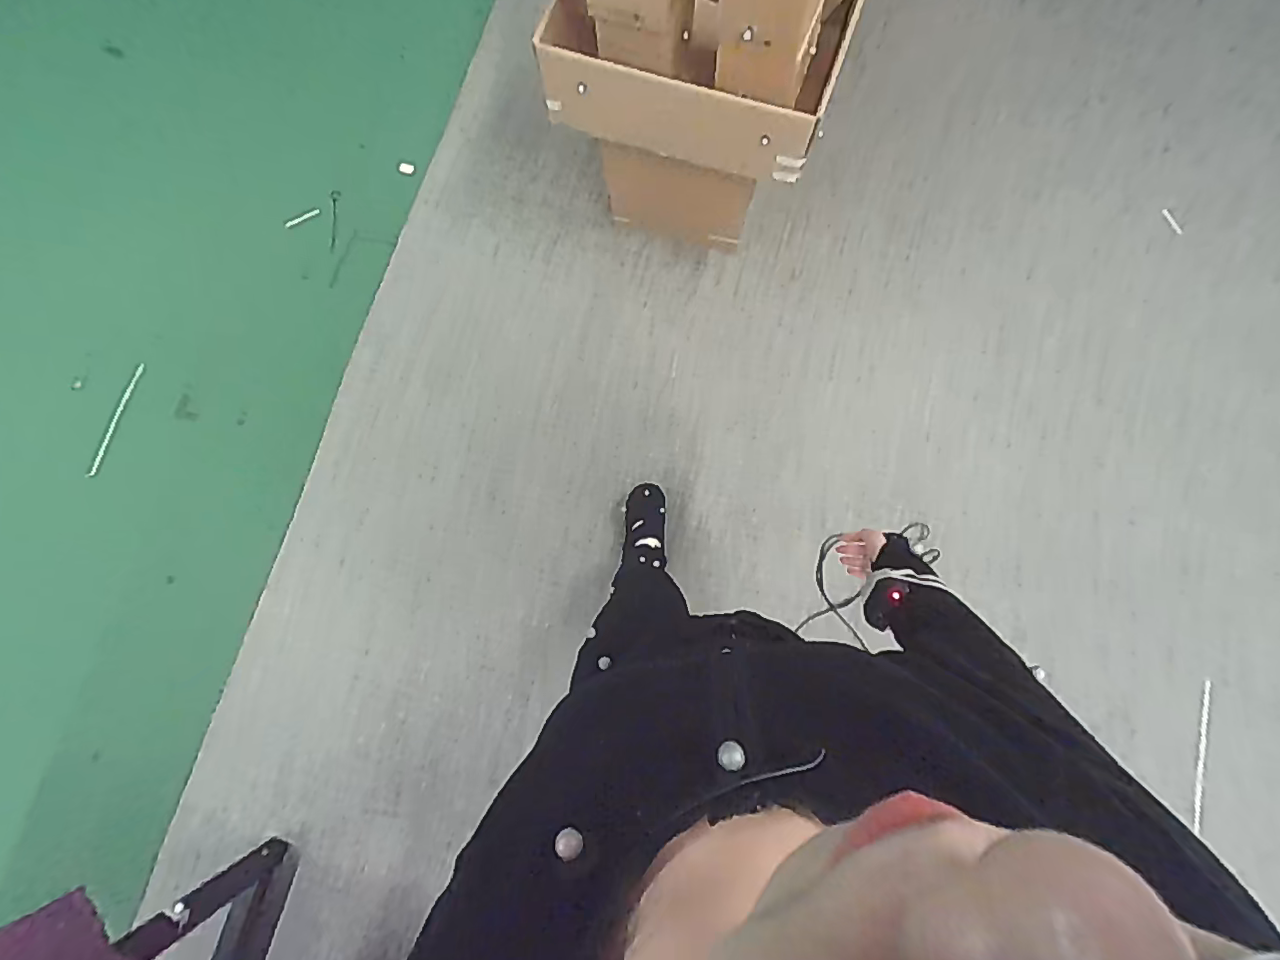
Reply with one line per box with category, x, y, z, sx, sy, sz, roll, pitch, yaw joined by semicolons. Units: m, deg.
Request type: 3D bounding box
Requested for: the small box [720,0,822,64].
small box;0.250;-0.917;0.982;0.168;0.176;0.179;21;83;8
